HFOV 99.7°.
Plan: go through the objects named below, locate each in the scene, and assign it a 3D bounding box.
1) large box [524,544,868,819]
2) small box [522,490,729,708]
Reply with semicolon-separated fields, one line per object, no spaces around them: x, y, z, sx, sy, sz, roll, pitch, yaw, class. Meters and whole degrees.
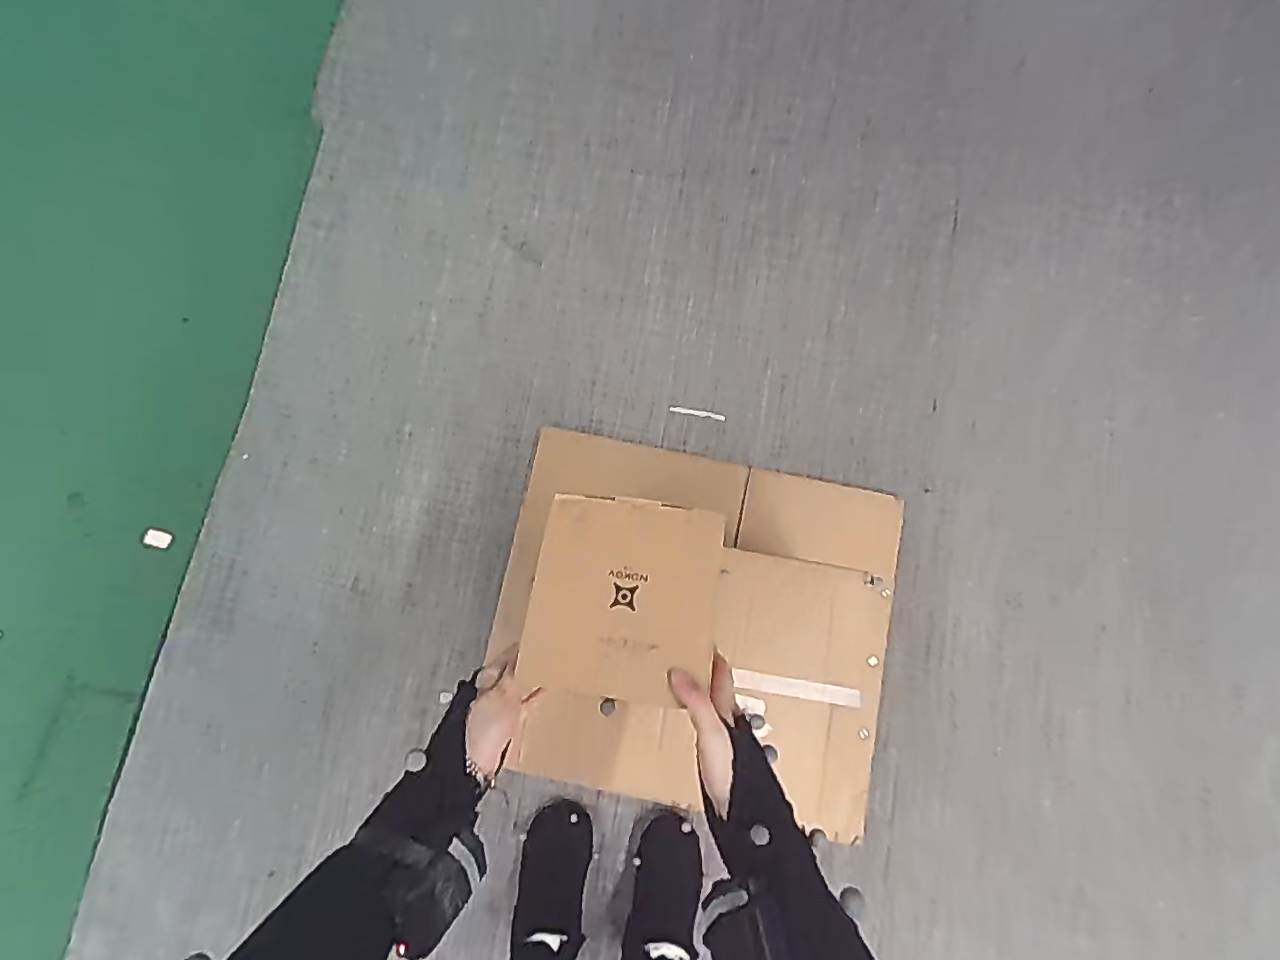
0.071;0.255;0.820;0.408;0.320;0.320;10;81;0;large box
-0.006;0.128;0.552;0.168;0.176;0.179;6;68;5;small box
